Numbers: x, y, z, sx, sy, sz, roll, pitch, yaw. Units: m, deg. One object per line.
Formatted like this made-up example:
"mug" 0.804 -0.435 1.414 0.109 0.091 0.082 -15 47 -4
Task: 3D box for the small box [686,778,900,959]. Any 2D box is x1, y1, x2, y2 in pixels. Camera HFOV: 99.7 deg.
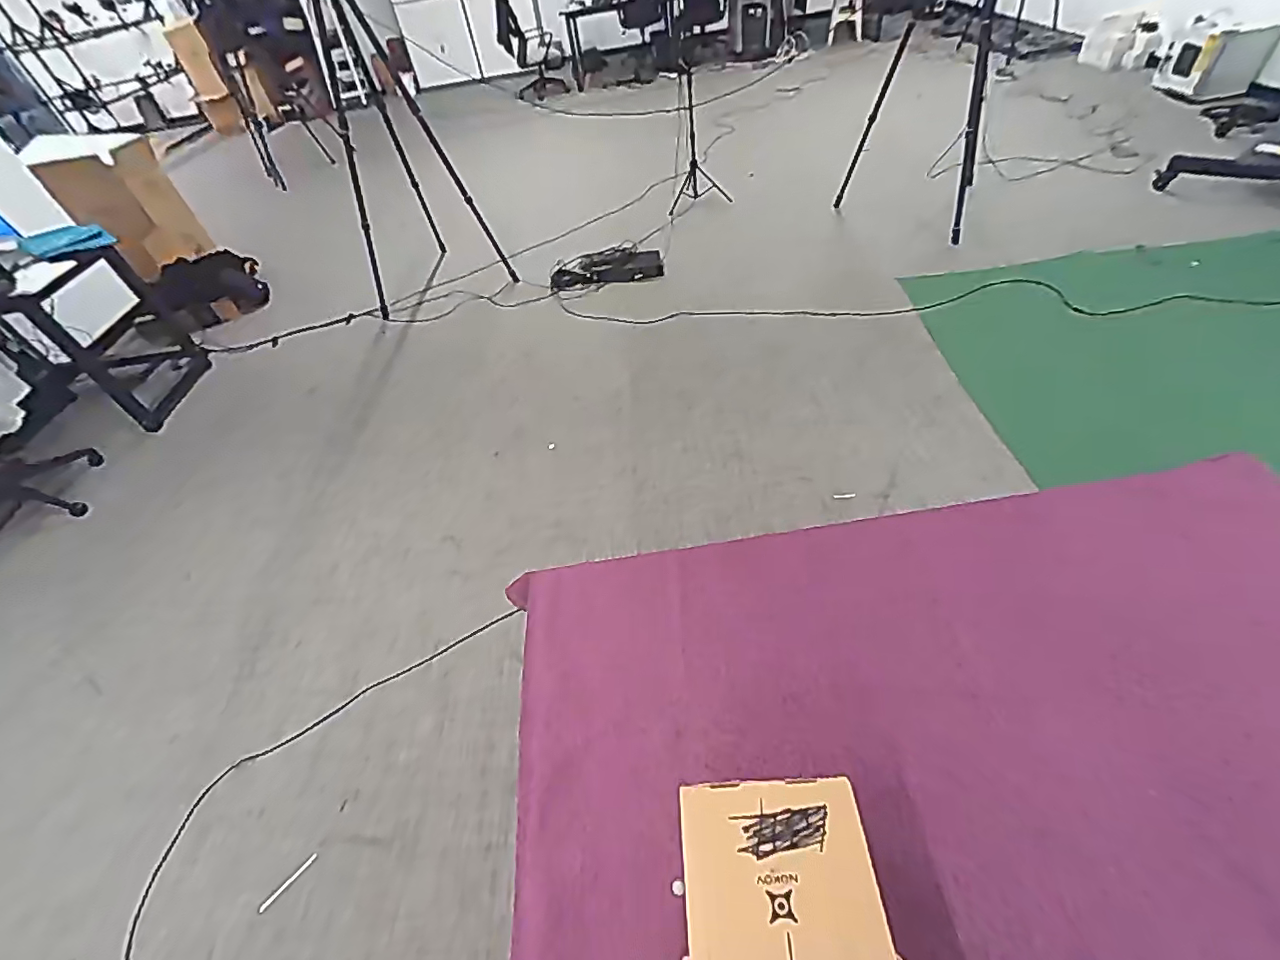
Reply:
"small box" 0.134 0.409 0.523 0.168 0.176 0.179 -6 47 5
